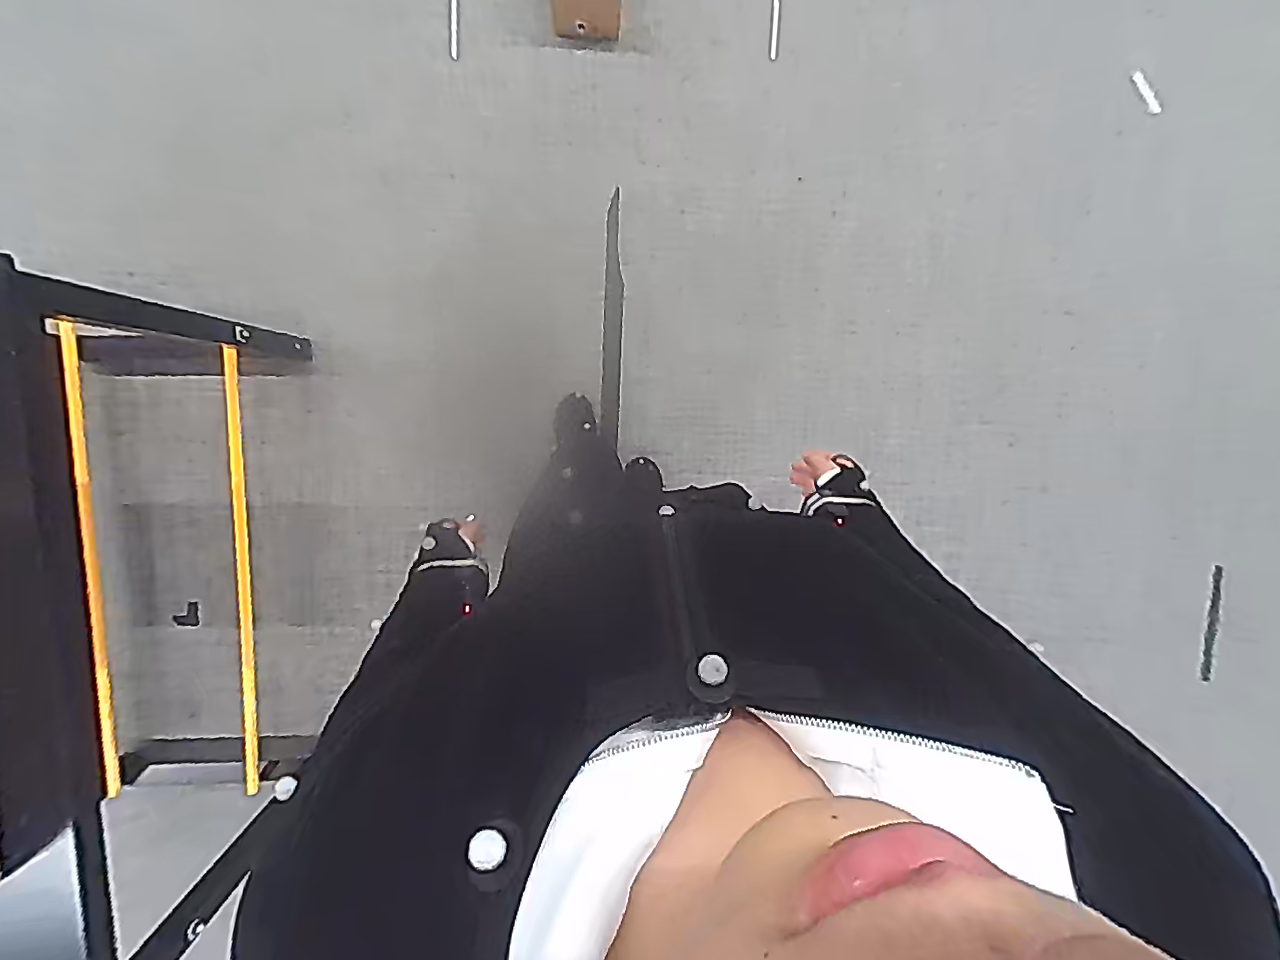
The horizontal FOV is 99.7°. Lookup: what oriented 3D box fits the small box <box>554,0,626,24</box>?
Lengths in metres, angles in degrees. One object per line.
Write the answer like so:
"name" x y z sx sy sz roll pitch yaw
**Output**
"small box" -0.112 -1.147 1.173 0.168 0.176 0.179 0 98 -2
